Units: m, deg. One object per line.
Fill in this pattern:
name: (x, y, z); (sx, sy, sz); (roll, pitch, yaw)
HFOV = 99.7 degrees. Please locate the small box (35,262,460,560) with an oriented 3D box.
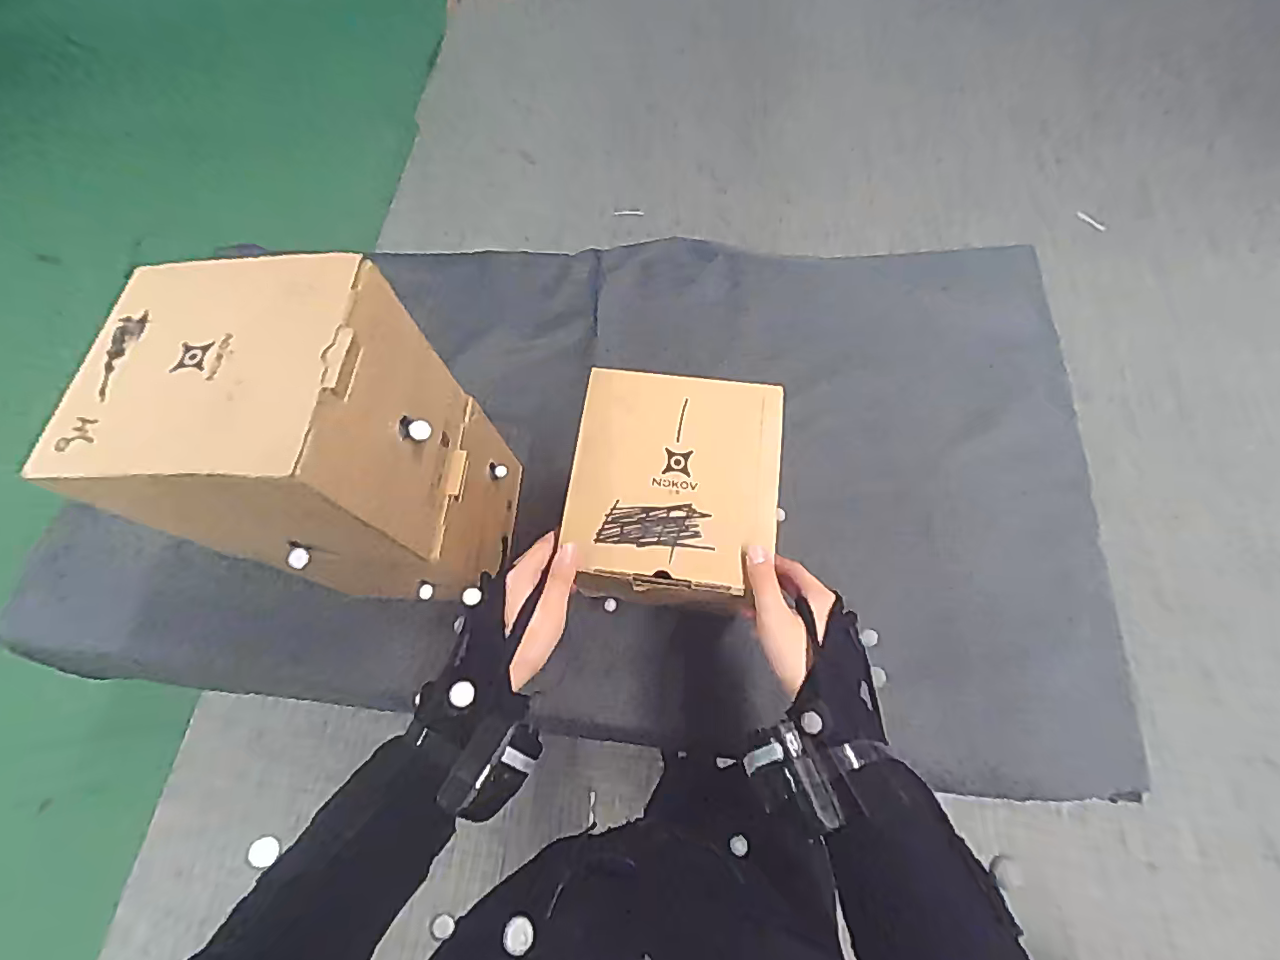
small box: (-0.260, -0.041, 0.414); (0.179, 0.176, 0.168); (0, 66, 6)

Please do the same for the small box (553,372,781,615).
small box: (0.029, 0.024, 0.503); (0.168, 0.176, 0.179); (6, 71, 5)

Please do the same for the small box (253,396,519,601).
small box: (-0.239, 0.027, 0.563); (0.179, 0.176, 0.168); (-1, 65, 7)
